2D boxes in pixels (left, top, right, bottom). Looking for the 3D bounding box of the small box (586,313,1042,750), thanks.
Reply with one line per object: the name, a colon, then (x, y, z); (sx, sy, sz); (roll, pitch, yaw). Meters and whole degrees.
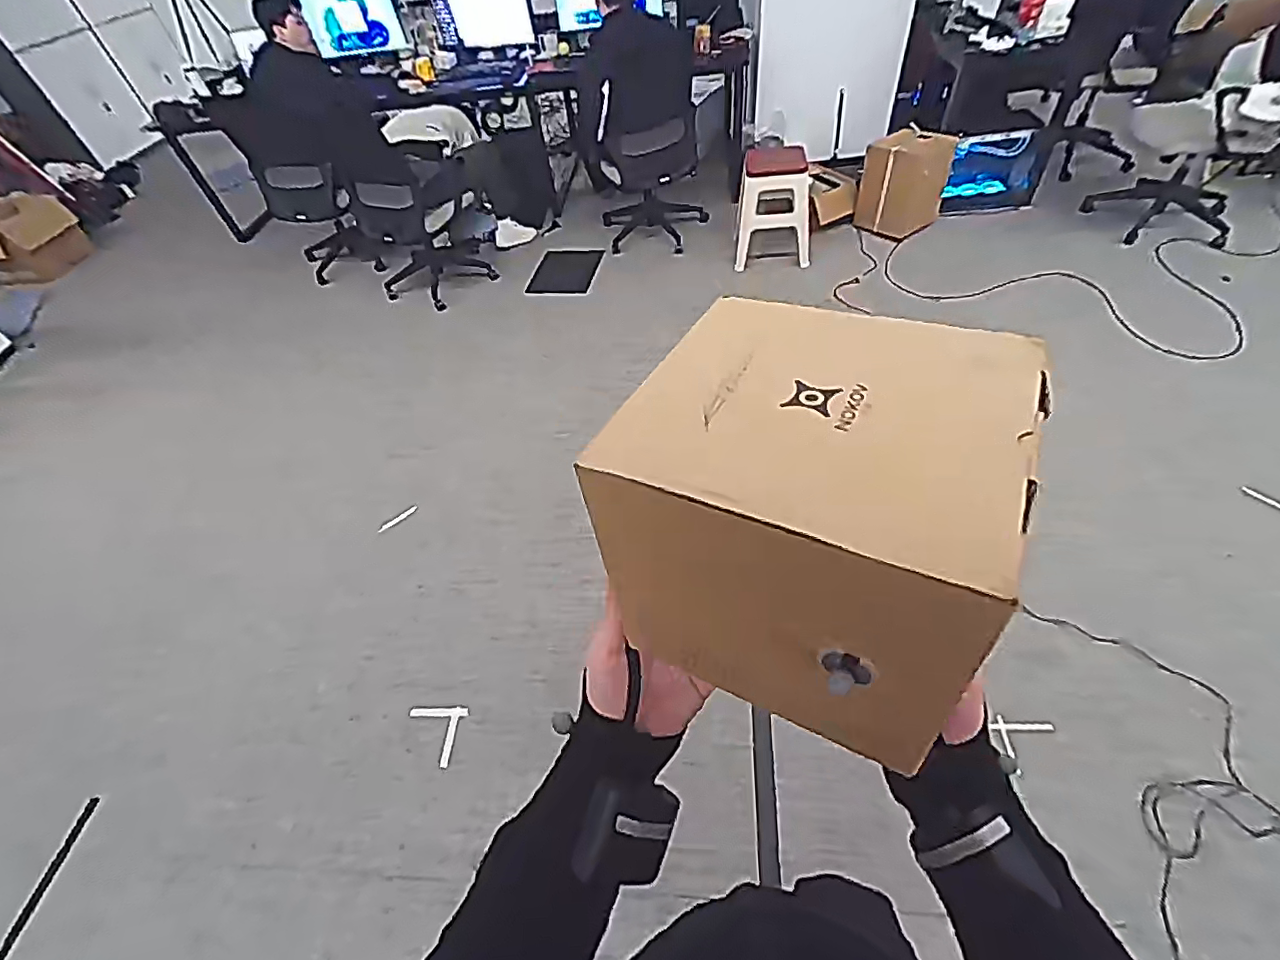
small box: (0.098, 0.027, 0.317); (0.179, 0.176, 0.168); (16, 50, 26)
